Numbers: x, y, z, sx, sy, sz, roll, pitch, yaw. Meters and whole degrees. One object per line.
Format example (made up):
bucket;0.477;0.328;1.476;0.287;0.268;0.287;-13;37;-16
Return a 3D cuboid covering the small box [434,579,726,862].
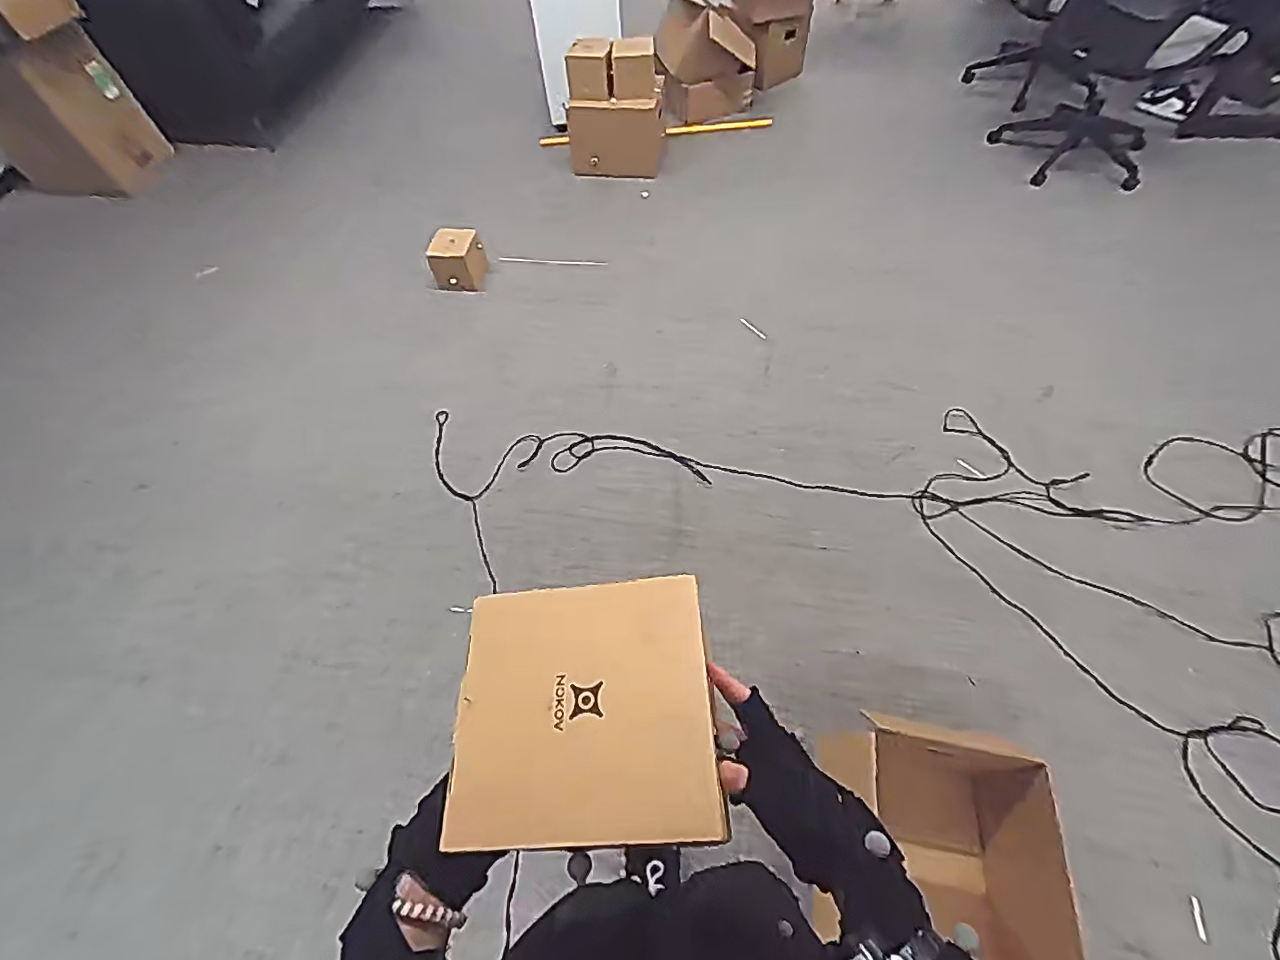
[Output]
small box;-0.028;0.192;0.422;0.179;0.176;0.168;-8;55;7

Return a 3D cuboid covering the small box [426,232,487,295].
small box;-0.743;-0.888;2.215;0.168;0.176;0.179;5;59;7
